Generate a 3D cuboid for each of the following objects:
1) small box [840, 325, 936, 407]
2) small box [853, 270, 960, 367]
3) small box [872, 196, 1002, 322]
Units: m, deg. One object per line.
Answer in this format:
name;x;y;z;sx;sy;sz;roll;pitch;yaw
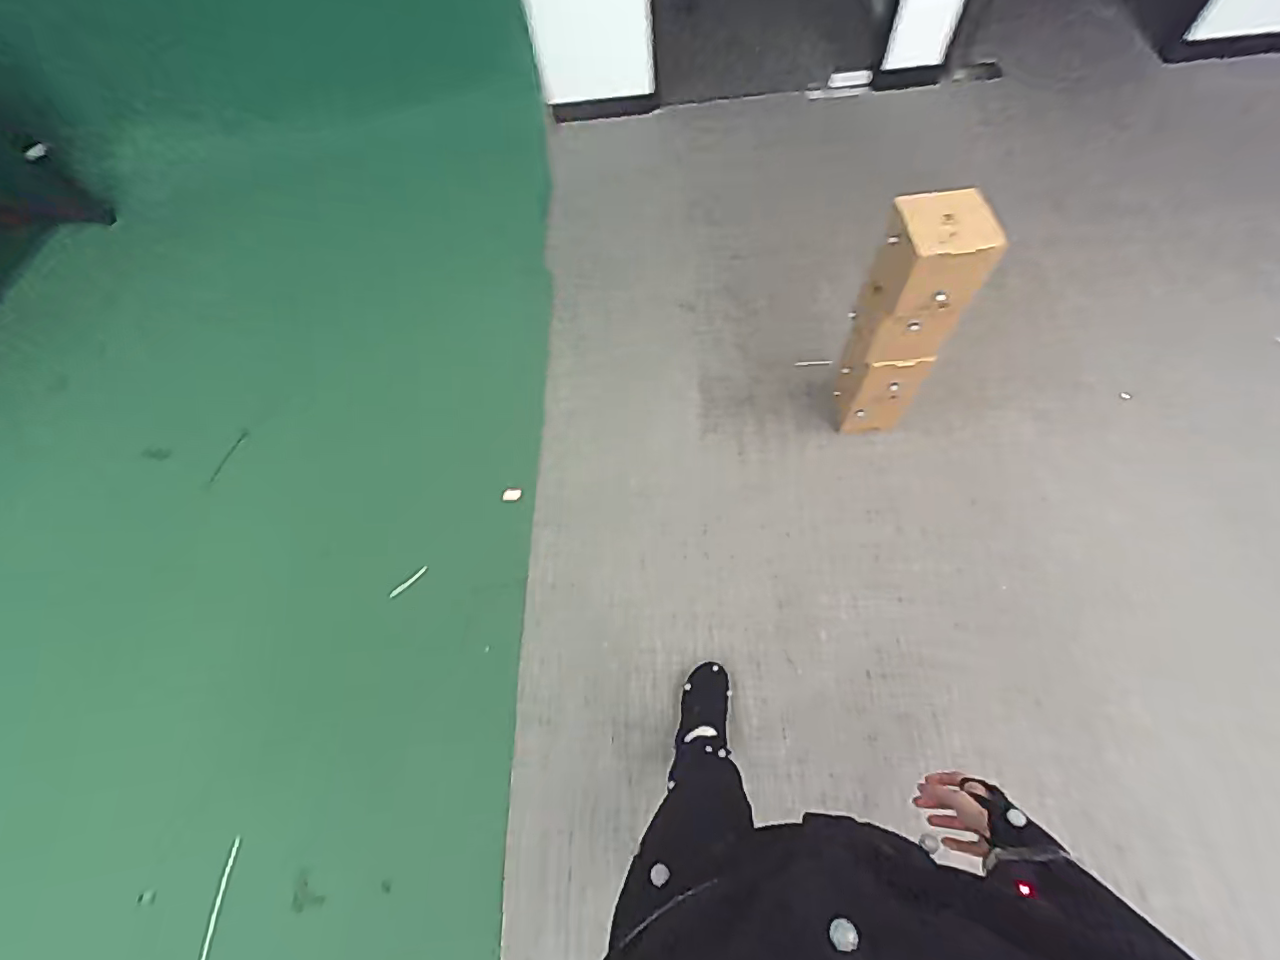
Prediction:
small box;0.646;-0.307;1.430;0.168;0.176;0.179;-5;63;3
small box;0.623;-0.386;1.288;0.179;0.176;0.168;-4;62;3
small box;0.611;-0.461;1.142;0.168;0.176;0.179;-6;63;3
